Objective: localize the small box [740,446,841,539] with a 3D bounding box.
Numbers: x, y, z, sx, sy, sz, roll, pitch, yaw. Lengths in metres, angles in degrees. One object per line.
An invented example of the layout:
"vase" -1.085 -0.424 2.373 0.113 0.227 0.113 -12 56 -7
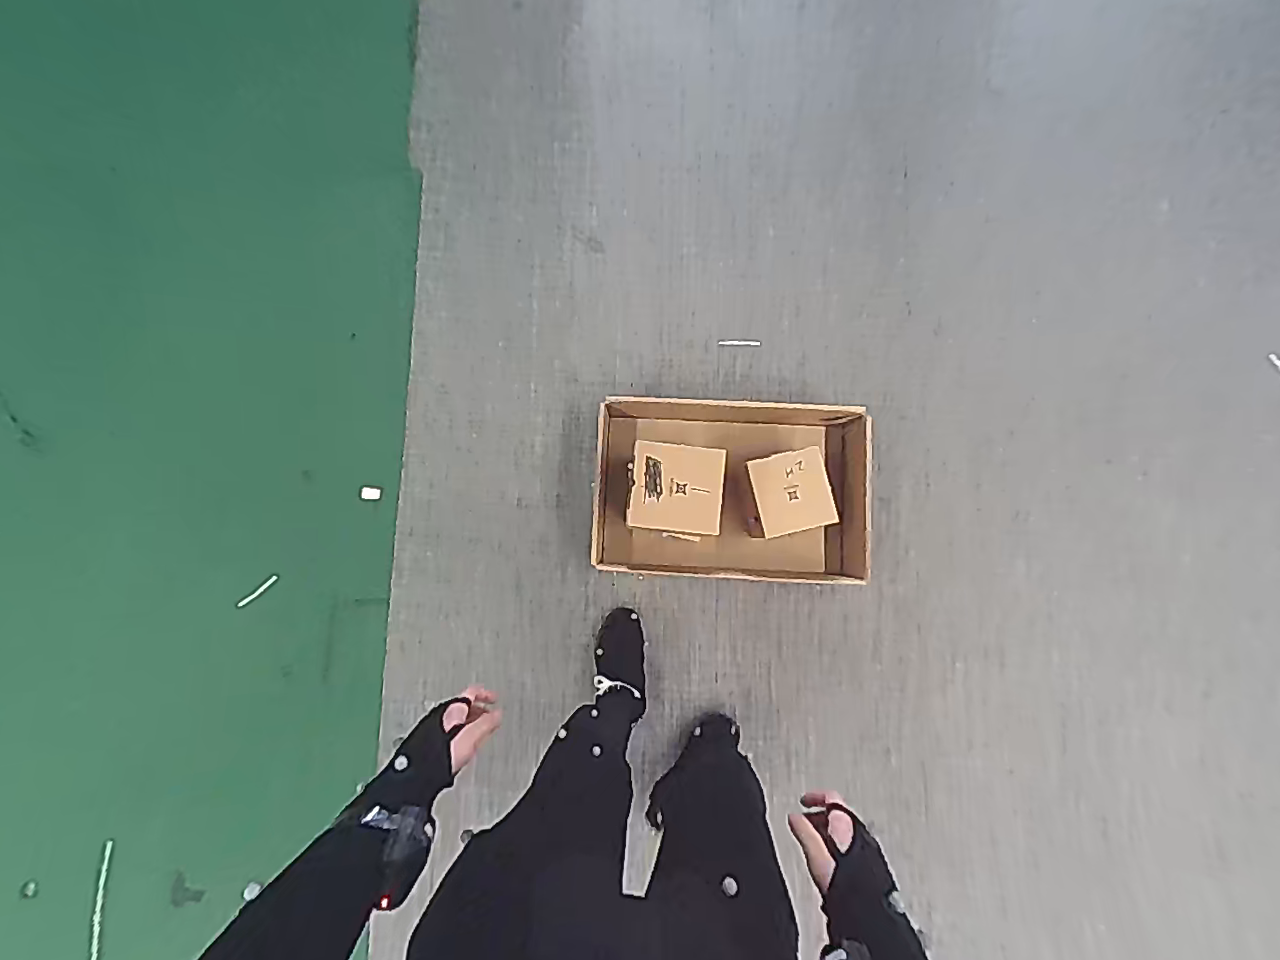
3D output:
"small box" 0.338 0.034 1.247 0.168 0.176 0.179 -13 83 0

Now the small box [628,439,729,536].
"small box" 0.073 0.022 1.090 0.179 0.176 0.168 7 83 0
